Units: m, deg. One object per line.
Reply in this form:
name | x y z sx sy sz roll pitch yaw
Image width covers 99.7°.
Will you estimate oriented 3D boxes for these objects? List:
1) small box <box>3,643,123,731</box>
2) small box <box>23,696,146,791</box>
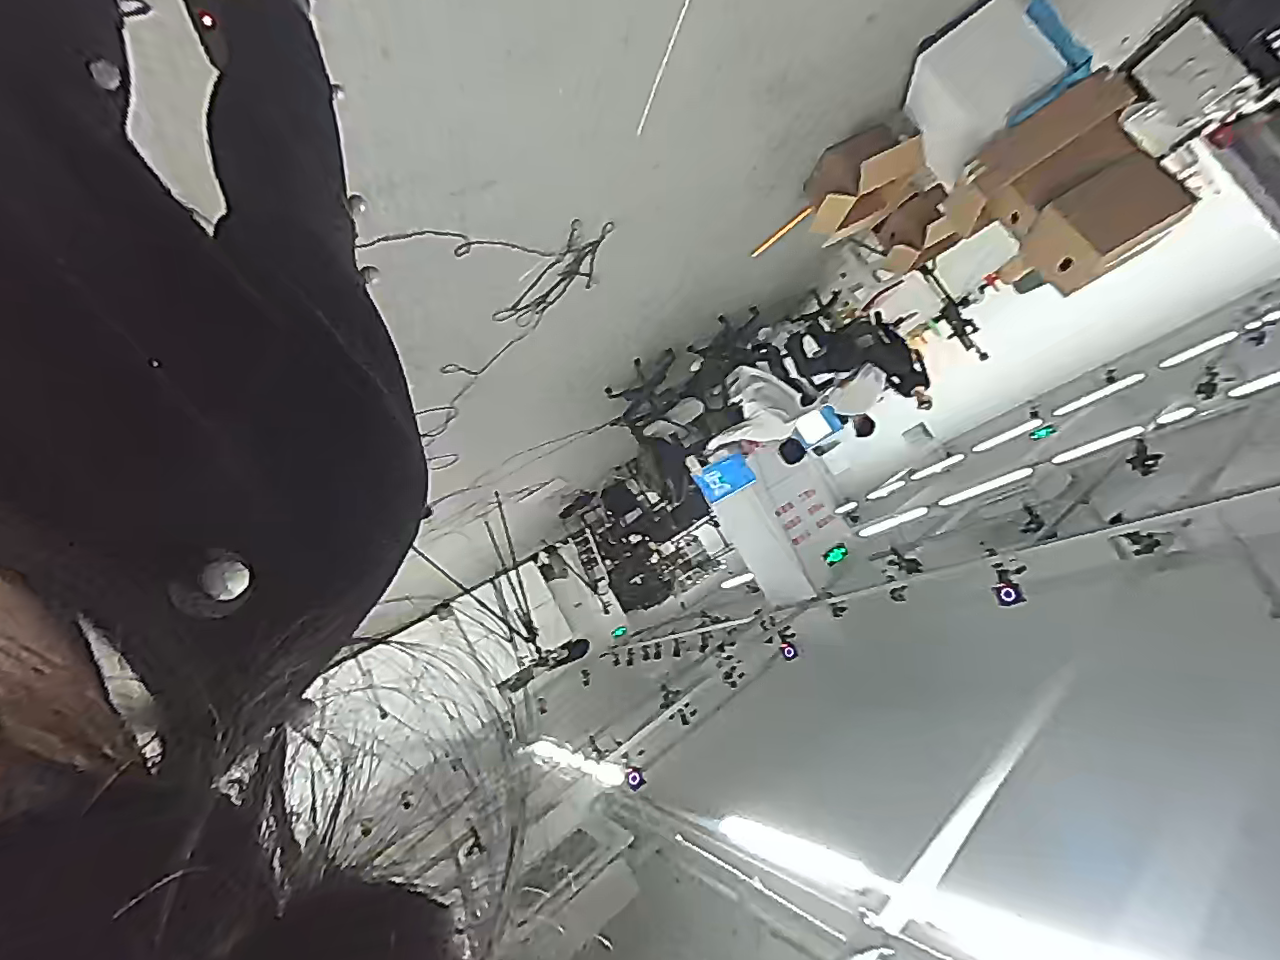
small box | -1.597 0.575 1.501 0.168 0.176 0.179 -26 171 -37
small box | -1.503 0.707 1.468 0.168 0.176 0.179 -26 171 -34
